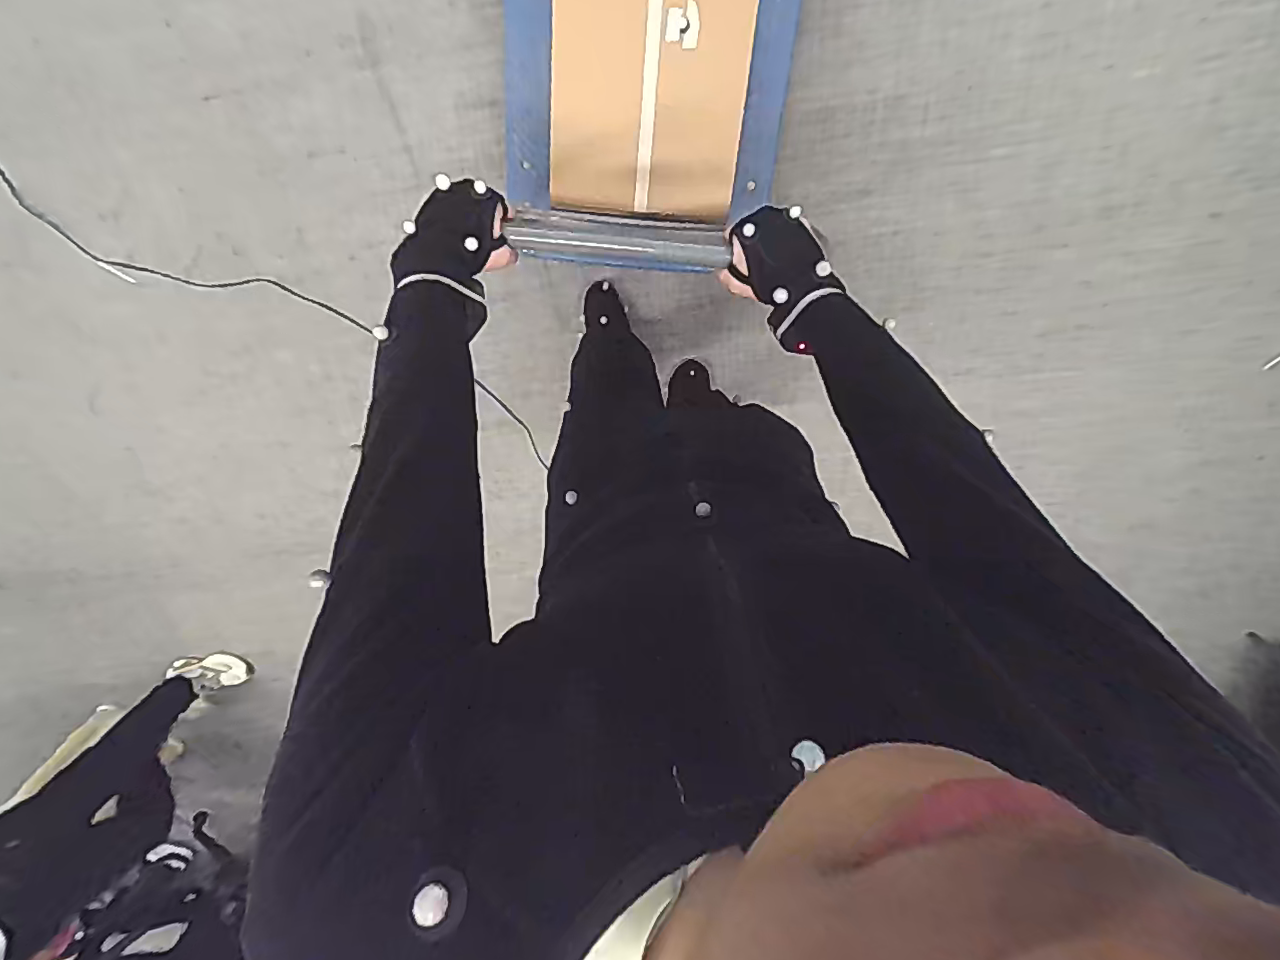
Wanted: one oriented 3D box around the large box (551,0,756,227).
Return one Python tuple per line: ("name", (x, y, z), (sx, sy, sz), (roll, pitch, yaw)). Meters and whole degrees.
("large box", (0.019, -0.700, 0.997), (0.320, 0.320, 0.408), (5, 114, -1))
